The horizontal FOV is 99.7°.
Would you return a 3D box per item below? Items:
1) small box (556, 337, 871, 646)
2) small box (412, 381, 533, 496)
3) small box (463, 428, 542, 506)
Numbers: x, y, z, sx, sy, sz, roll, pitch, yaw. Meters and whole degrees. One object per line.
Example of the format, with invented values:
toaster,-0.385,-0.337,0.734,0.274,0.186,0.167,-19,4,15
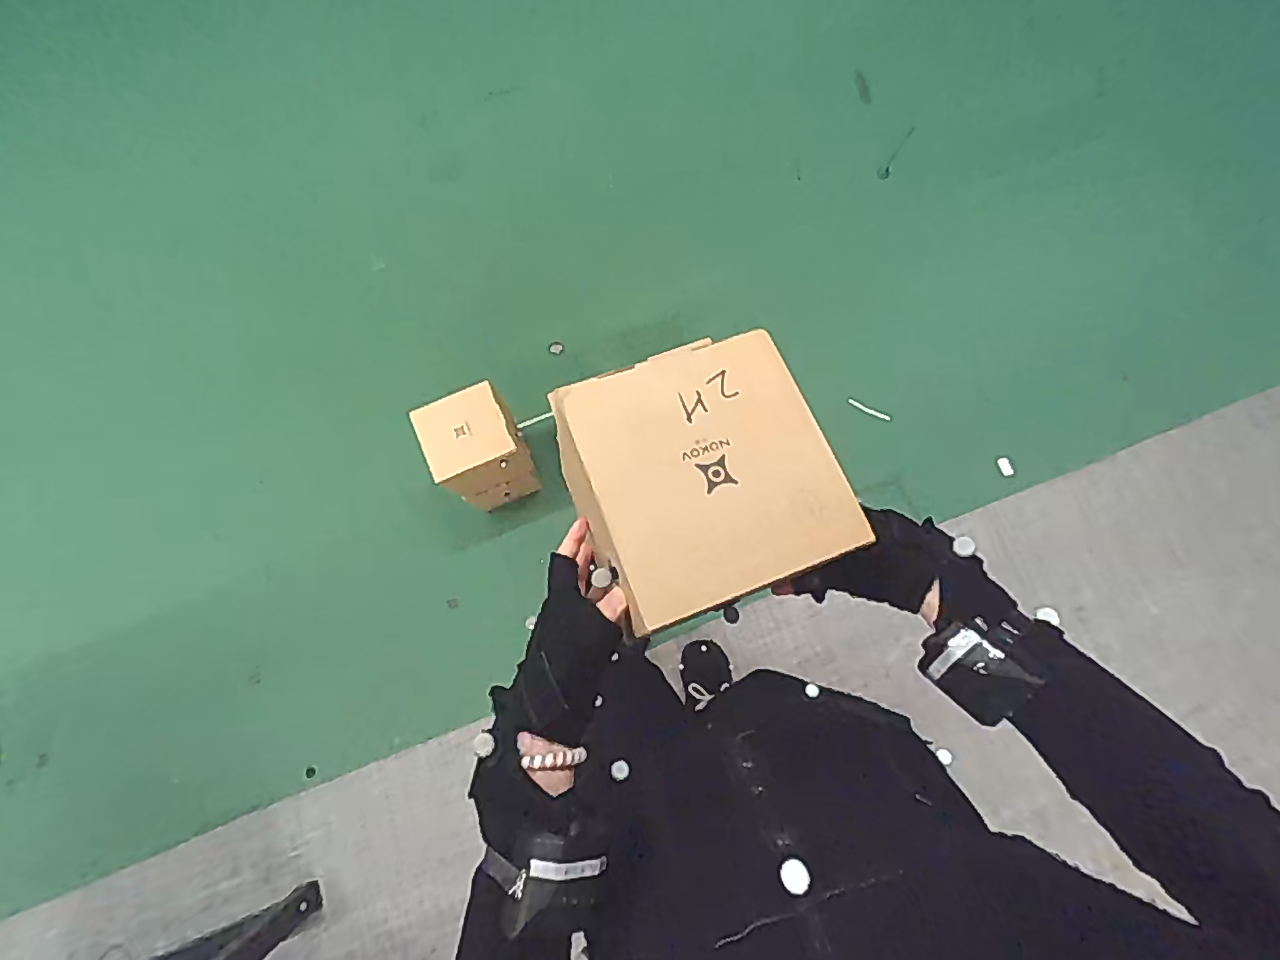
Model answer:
small box,0.040,0.022,0.433,0.168,0.176,0.179,-18,73,-12
small box,-0.352,-0.081,1.165,0.179,0.176,0.168,-24,78,-5
small box,-0.354,-0.045,1.324,0.168,0.176,0.179,-23,80,-5
